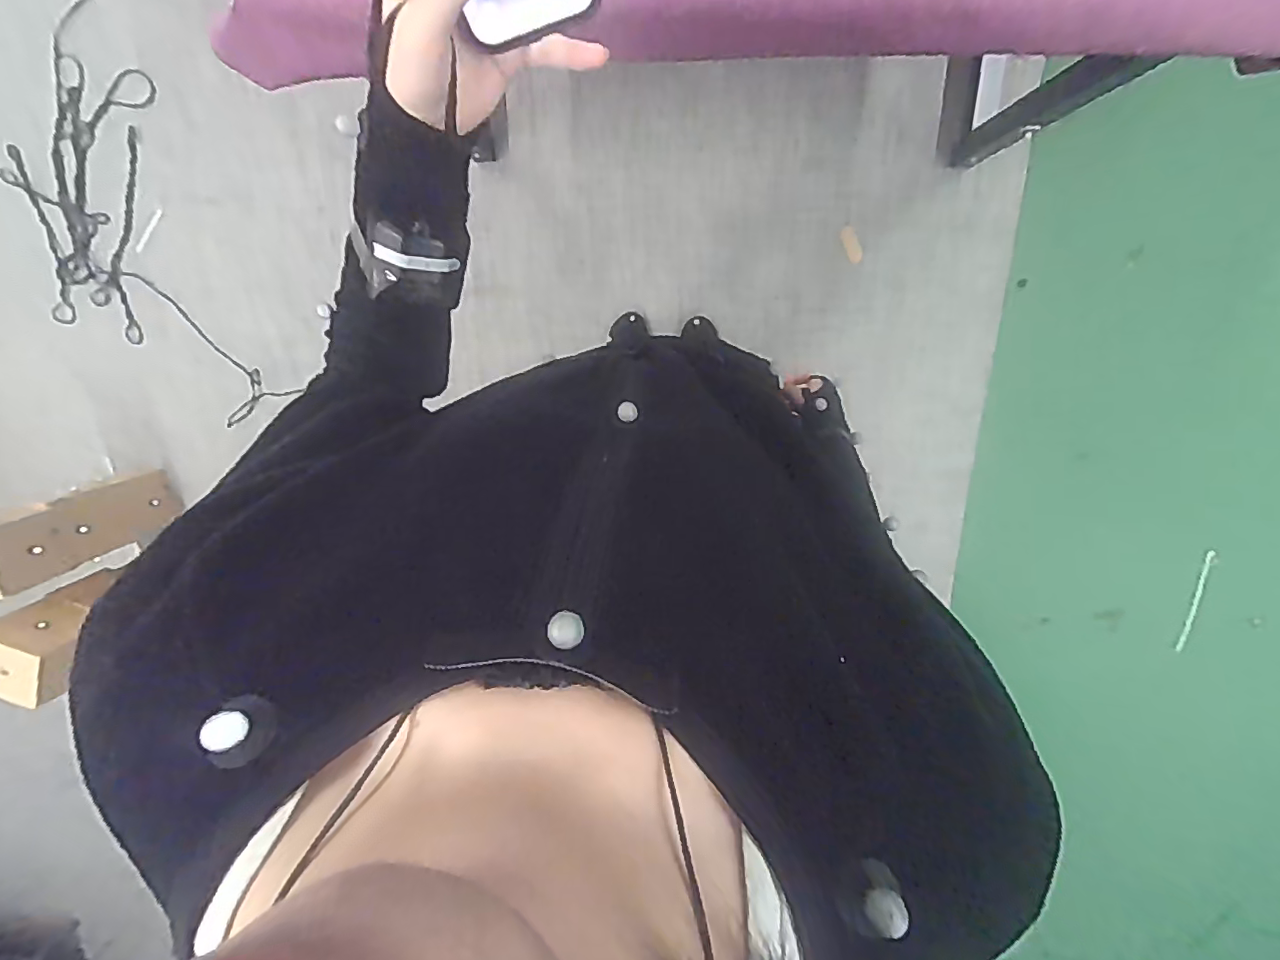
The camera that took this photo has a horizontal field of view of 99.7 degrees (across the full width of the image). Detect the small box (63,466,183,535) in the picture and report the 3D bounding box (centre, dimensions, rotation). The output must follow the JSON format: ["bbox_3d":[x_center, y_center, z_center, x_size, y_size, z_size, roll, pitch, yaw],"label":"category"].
[{"bbox_3d":[-1.498,0.063,1.586,0.179,0.176,0.168,-6,106,7],"label":"small box"}]

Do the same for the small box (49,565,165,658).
[{"bbox_3d":[-1.479,0.367,1.509,0.168,0.176,0.179,18,106,0],"label":"small box"}]

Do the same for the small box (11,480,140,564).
[{"bbox_3d":[-1.497,0.117,1.432,0.168,0.176,0.179,-10,106,7],"label":"small box"}]

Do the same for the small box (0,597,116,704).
[{"bbox_3d":[-1.484,0.416,1.352,0.179,0.176,0.168,22,107,-2],"label":"small box"}]

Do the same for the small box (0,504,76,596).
[{"bbox_3d":[-1.503,0.162,1.275,0.179,0.176,0.168,-3,107,3],"label":"small box"}]
